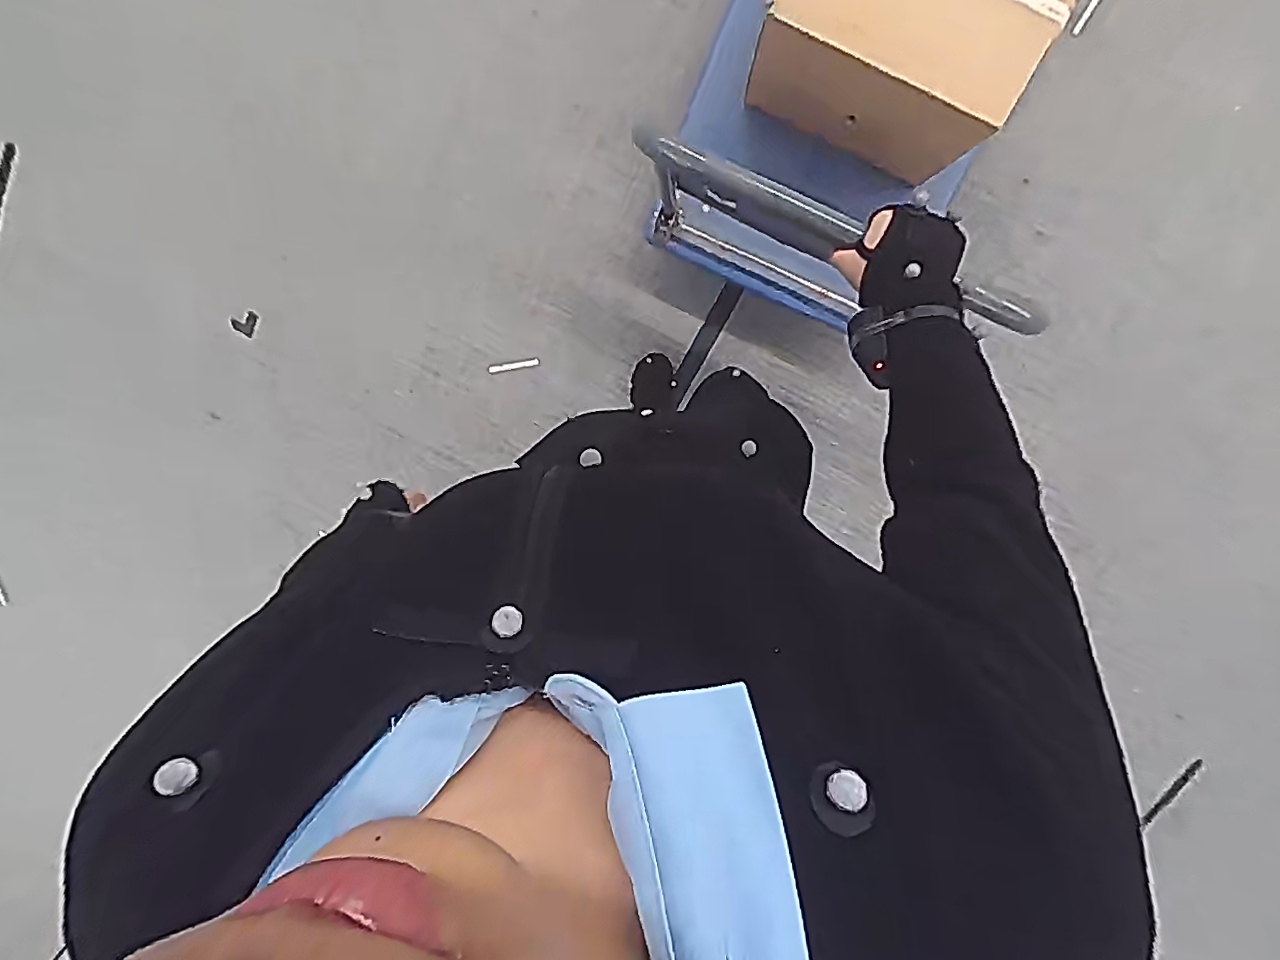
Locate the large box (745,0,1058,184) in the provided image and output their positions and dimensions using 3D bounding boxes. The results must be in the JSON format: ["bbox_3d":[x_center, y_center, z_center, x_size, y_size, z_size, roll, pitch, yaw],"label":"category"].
[{"bbox_3d":[0.445,-0.798,0.961,0.408,0.320,0.320,25,103,-1],"label":"large box"}]
